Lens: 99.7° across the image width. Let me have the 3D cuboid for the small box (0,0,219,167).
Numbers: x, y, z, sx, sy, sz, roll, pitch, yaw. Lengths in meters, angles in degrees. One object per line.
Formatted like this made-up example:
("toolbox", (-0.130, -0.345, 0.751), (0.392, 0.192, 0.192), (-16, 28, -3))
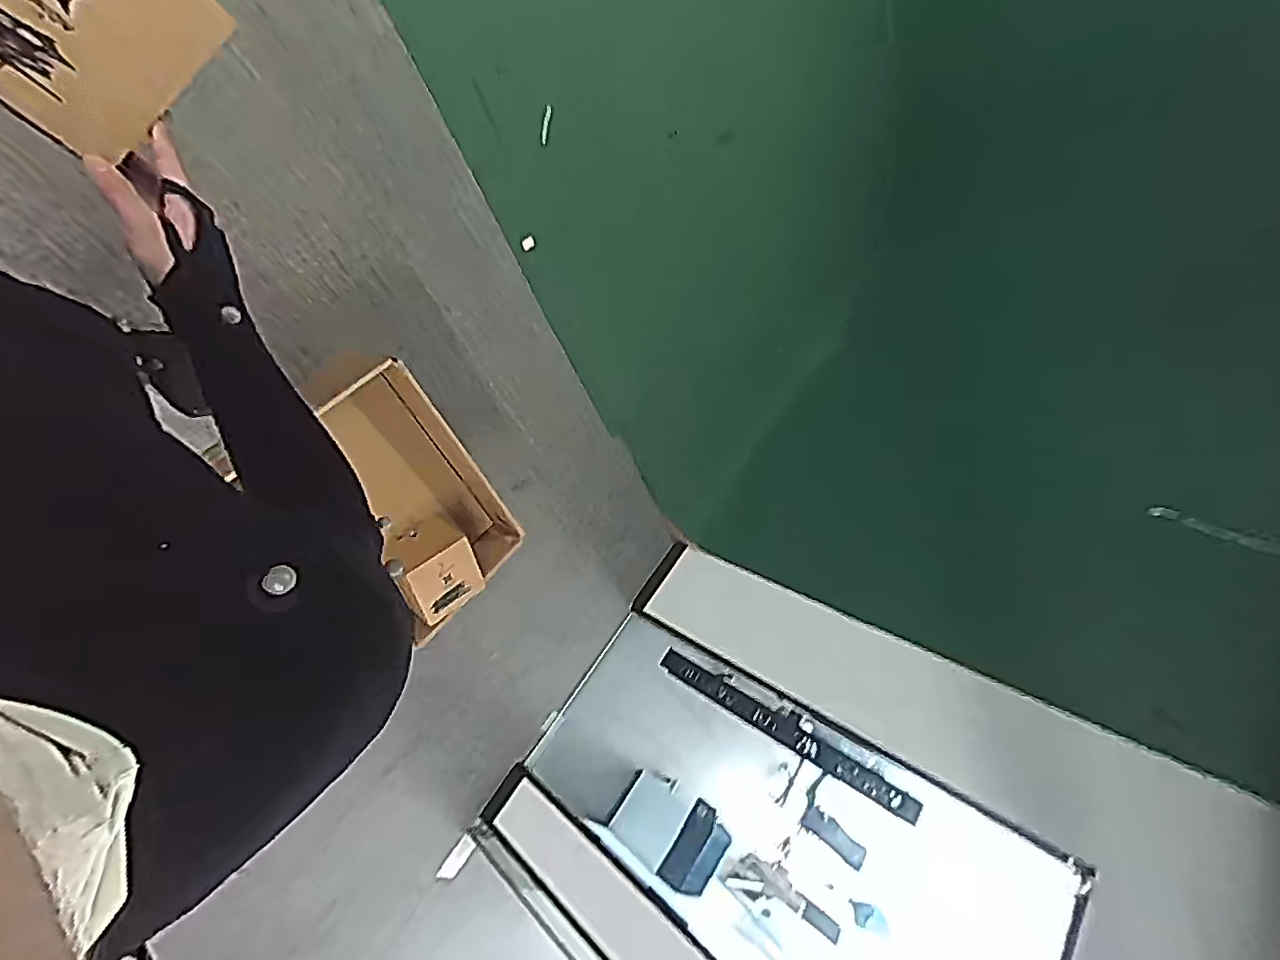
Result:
("small box", (-0.490, -0.391, 0.432), (0.179, 0.176, 0.168), (-54, 145, -3))
